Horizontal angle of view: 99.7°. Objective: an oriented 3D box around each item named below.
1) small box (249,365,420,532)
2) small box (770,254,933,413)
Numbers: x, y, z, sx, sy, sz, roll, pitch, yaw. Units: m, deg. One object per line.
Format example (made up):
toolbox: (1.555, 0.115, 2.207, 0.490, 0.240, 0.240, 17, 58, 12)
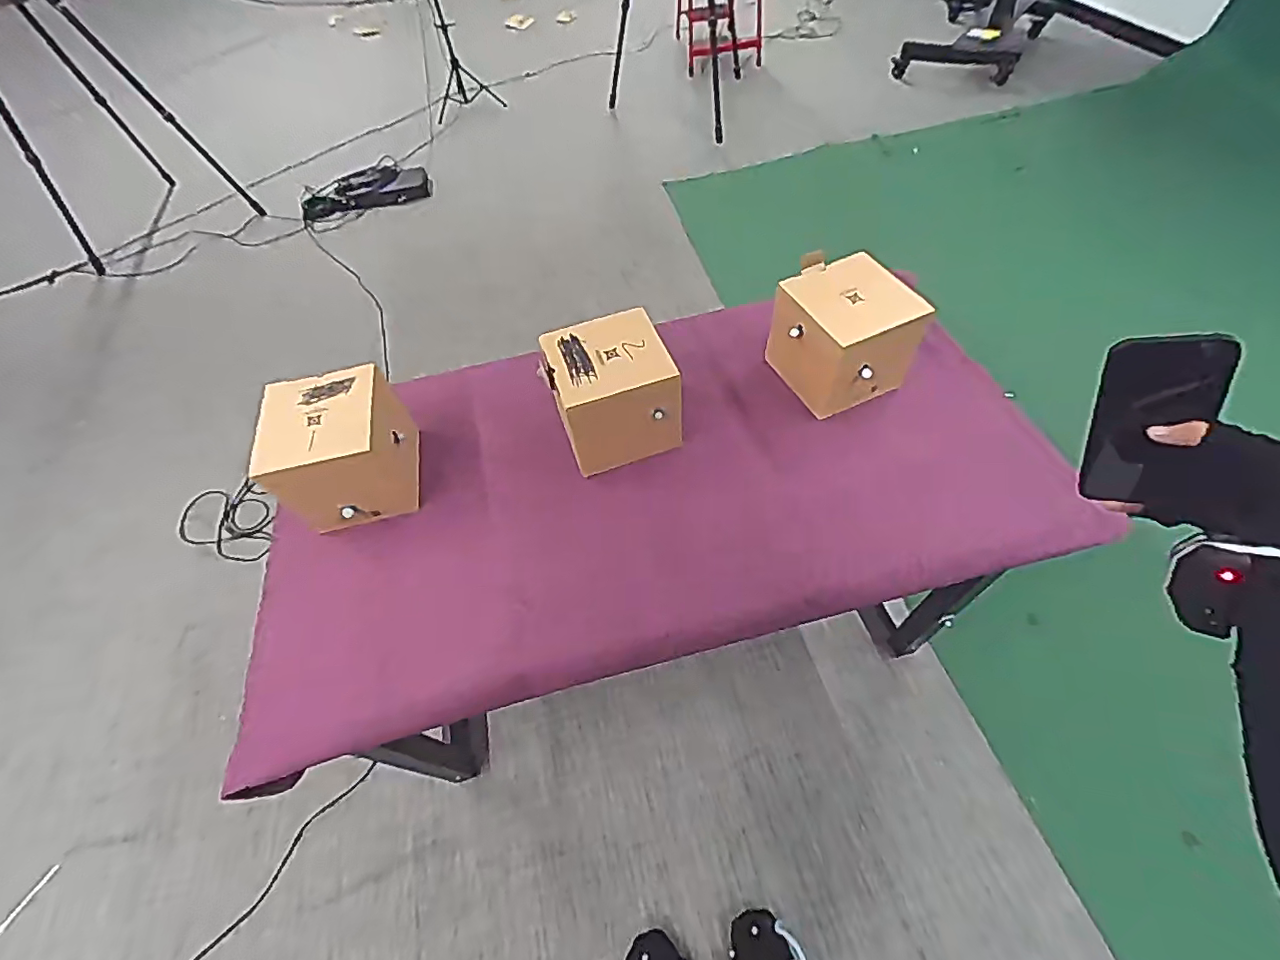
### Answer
small box: (-0.455, -0.045, 0.838, 0.168, 0.176, 0.179, -13, 57, -4)
small box: (0.334, -0.233, 0.896, 0.168, 0.176, 0.179, -23, 56, -10)
